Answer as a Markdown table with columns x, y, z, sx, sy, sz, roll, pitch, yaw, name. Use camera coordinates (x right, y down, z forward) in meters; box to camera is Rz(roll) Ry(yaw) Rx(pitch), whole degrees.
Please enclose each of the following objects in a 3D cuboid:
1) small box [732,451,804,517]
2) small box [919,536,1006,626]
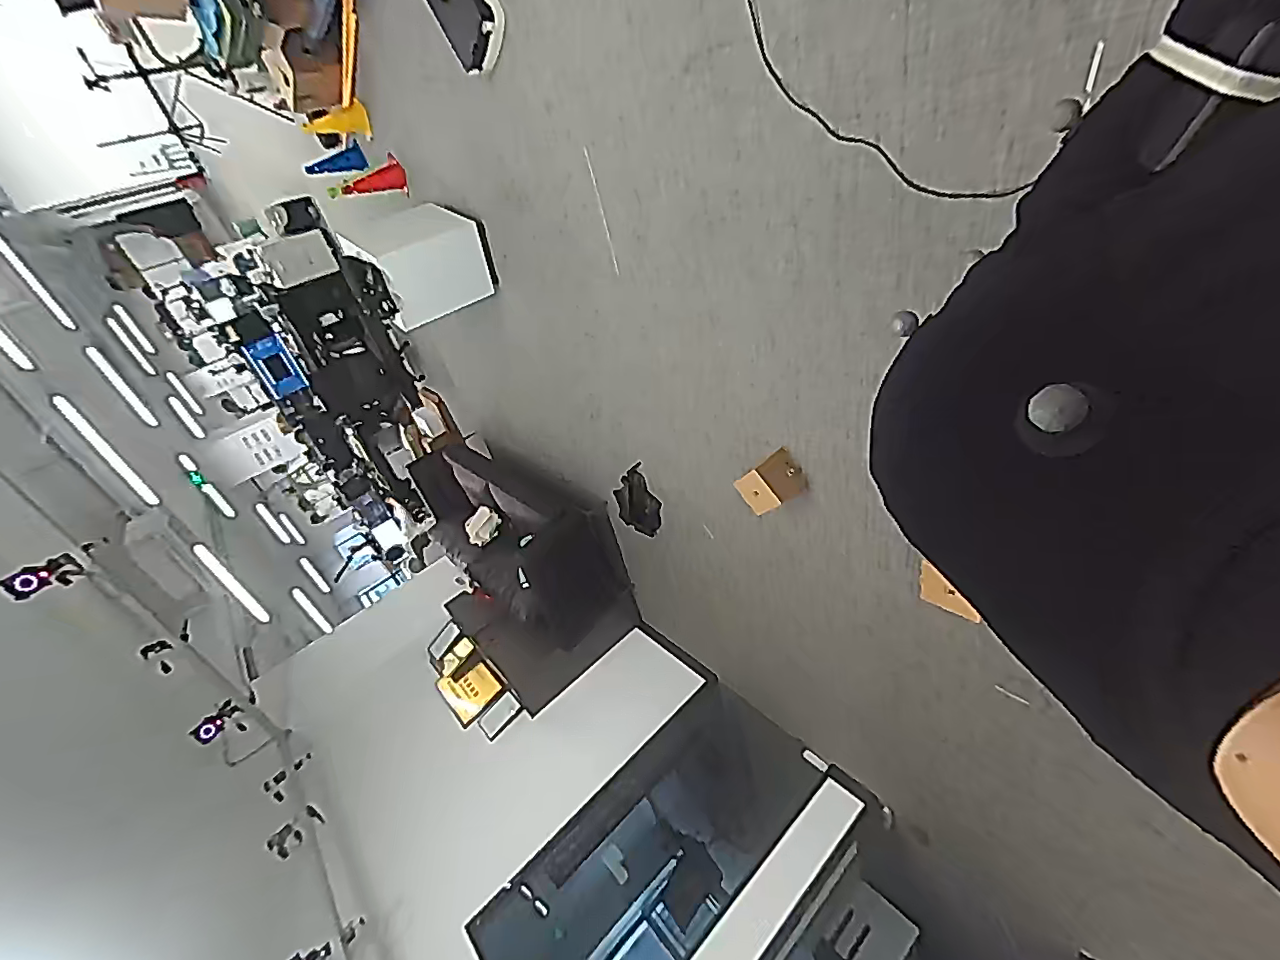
| x | y | z | sx | sy | sz | roll | pitch | yaw | name |
| --- | --- | --- | --- | --- | --- | --- | --- | --- | --- |
| 0.496 | 0.015 | 2.086 | 0.168 | 0.176 | 0.179 | 52 | 153 | 4 | small box |
| 0.968 | 0.295 | 1.626 | 0.179 | 0.176 | 0.168 | 24 | 140 | 47 | small box |
